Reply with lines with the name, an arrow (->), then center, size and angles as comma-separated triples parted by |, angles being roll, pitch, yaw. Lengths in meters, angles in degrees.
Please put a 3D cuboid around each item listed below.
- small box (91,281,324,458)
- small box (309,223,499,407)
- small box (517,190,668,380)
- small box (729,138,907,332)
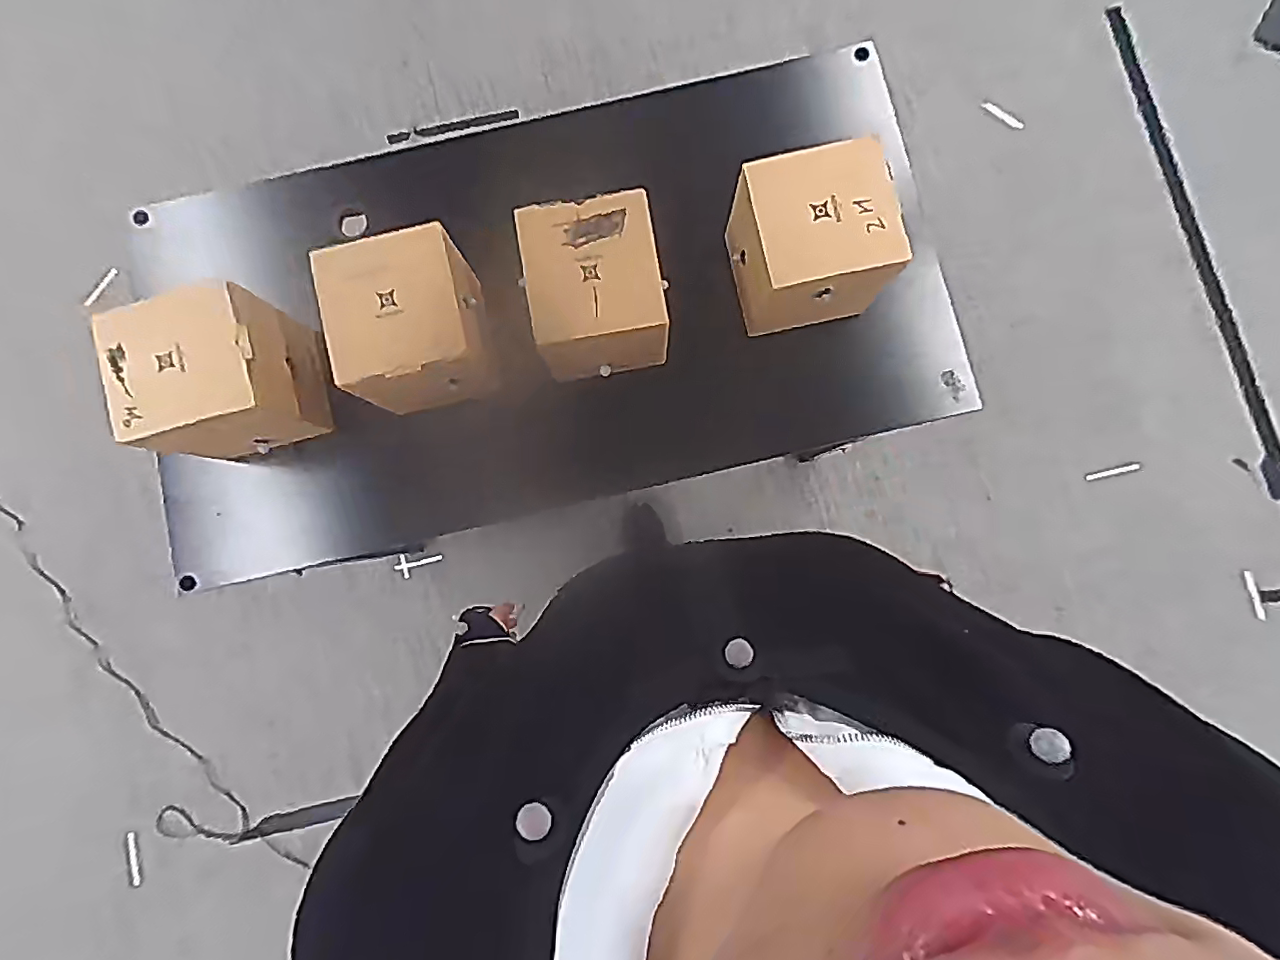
small box -> -0.557, -0.136, 0.726 | 0.179, 0.176, 0.168 | -16, 85, -2
small box -> -0.305, -0.206, 0.733 | 0.168, 0.176, 0.179 | -14, 84, -1
small box -> -0.059, -0.252, 0.734 | 0.168, 0.176, 0.179 | -10, 86, 0
small box -> 0.225, -0.318, 0.737 | 0.179, 0.176, 0.168 | -12, 85, 0
